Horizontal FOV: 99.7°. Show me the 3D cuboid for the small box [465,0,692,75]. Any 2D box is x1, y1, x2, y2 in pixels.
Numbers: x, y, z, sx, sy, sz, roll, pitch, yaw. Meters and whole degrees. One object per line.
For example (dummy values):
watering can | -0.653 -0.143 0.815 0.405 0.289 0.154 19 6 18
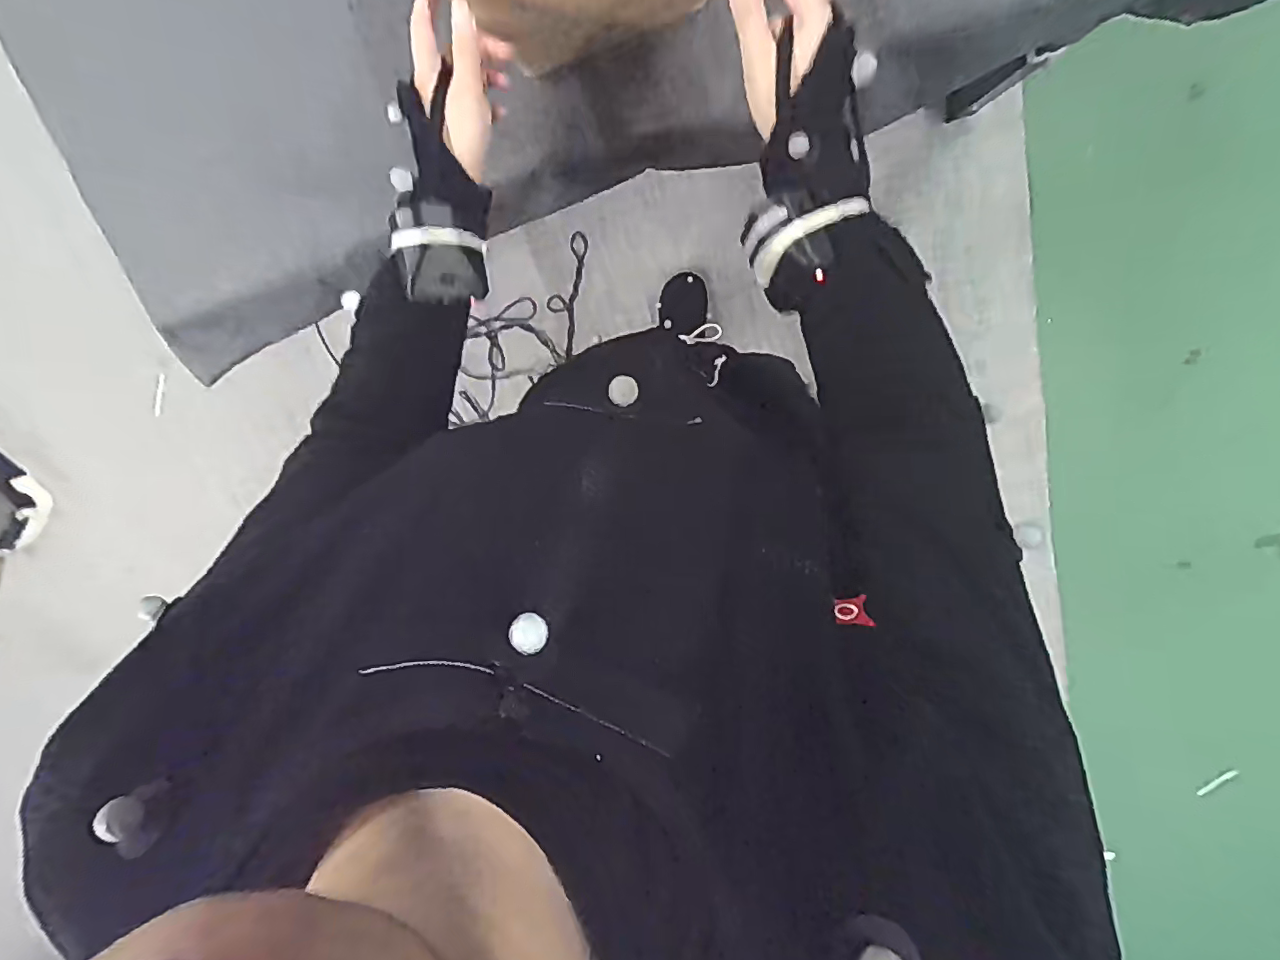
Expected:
small box | -0.060 -0.439 0.391 0.179 0.176 0.168 -13 107 13
